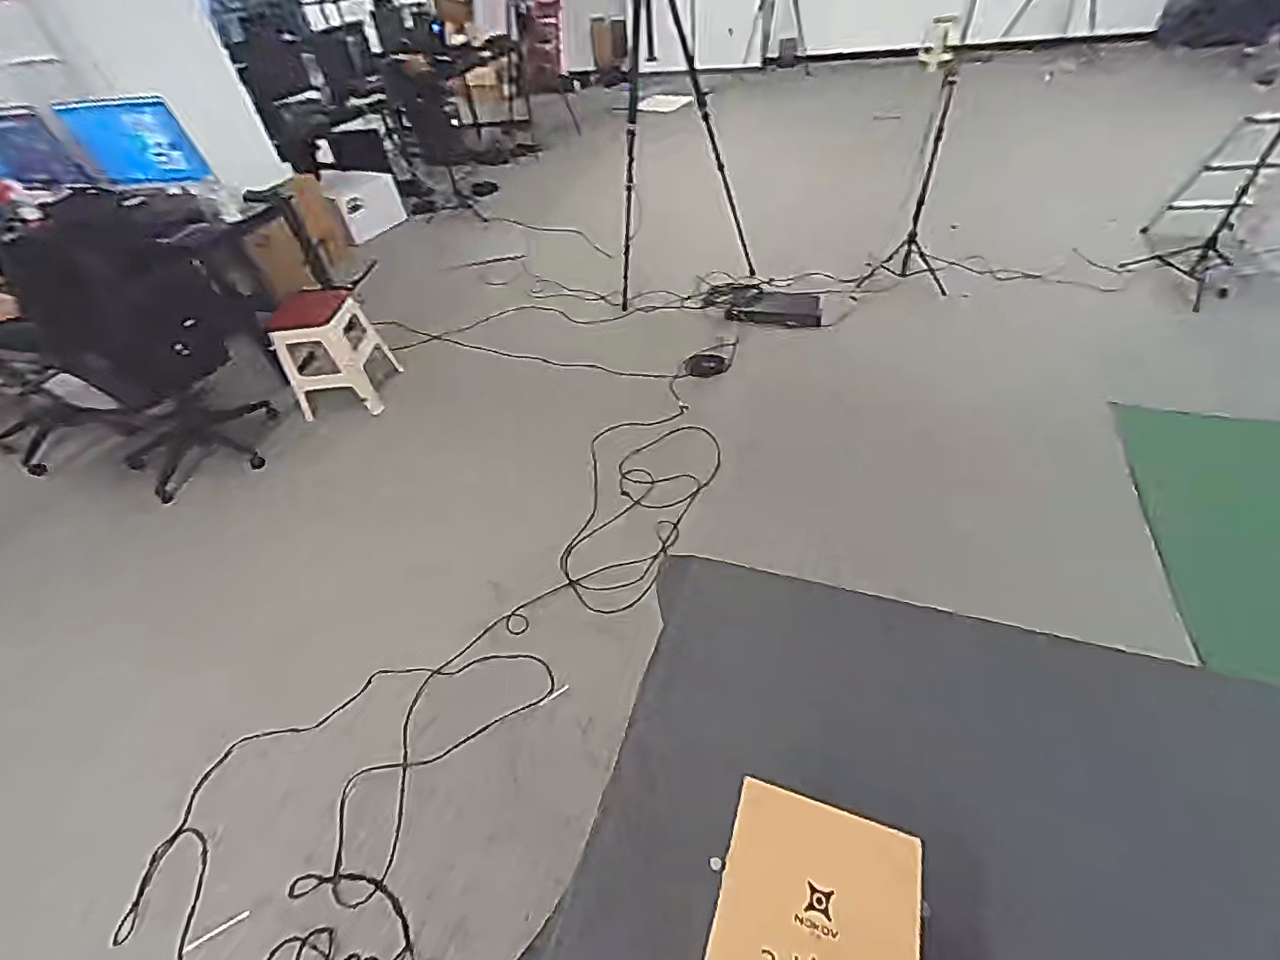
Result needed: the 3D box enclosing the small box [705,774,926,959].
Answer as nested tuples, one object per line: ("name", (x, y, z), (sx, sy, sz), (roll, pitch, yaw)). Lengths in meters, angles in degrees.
("small box", (0.160, 0.426, 0.519), (0.168, 0.176, 0.179), (12, 48, 18))
